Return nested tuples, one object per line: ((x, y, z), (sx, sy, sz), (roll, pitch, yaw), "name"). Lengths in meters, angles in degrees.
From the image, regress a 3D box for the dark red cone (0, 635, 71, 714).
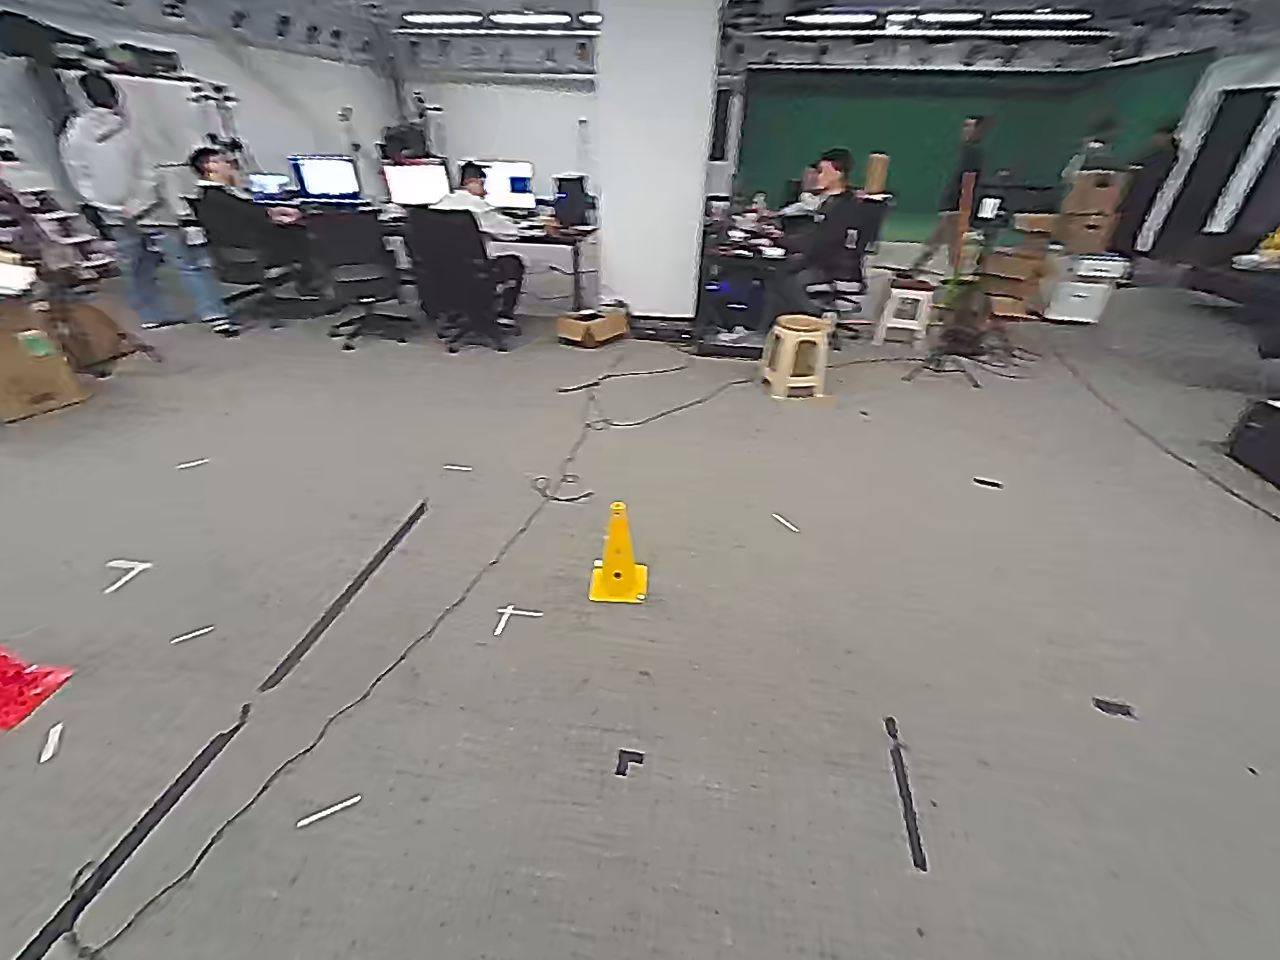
((-1.838, 0.457, 1.499), (0.201, 0.394, 0.202), (3, 32, 1), "dark red cone")
